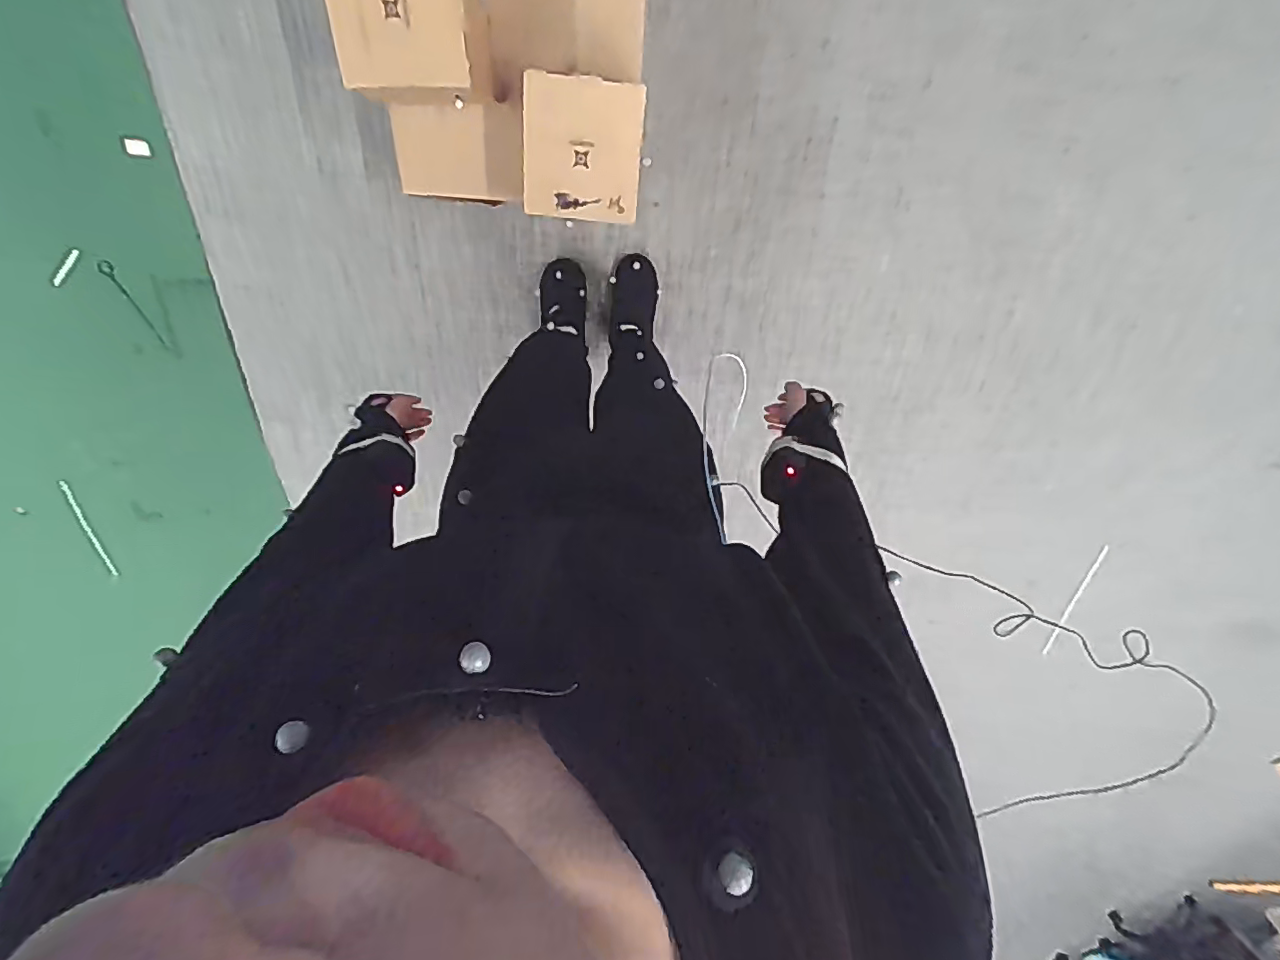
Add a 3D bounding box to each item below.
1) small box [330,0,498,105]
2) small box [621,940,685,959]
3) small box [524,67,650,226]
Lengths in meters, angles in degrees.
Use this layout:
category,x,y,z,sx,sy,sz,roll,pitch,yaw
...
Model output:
category,x,y,z,sx,sy,sz,roll,pitch,yaw
small box,-0.305,-0.636,0.755,0.179,0.176,0.168,1,118,1
small box,0.035,1.380,1.461,0.179,0.176,0.168,2,121,1
small box,-0.079,-0.499,0.827,0.168,0.176,0.179,6,119,-3
